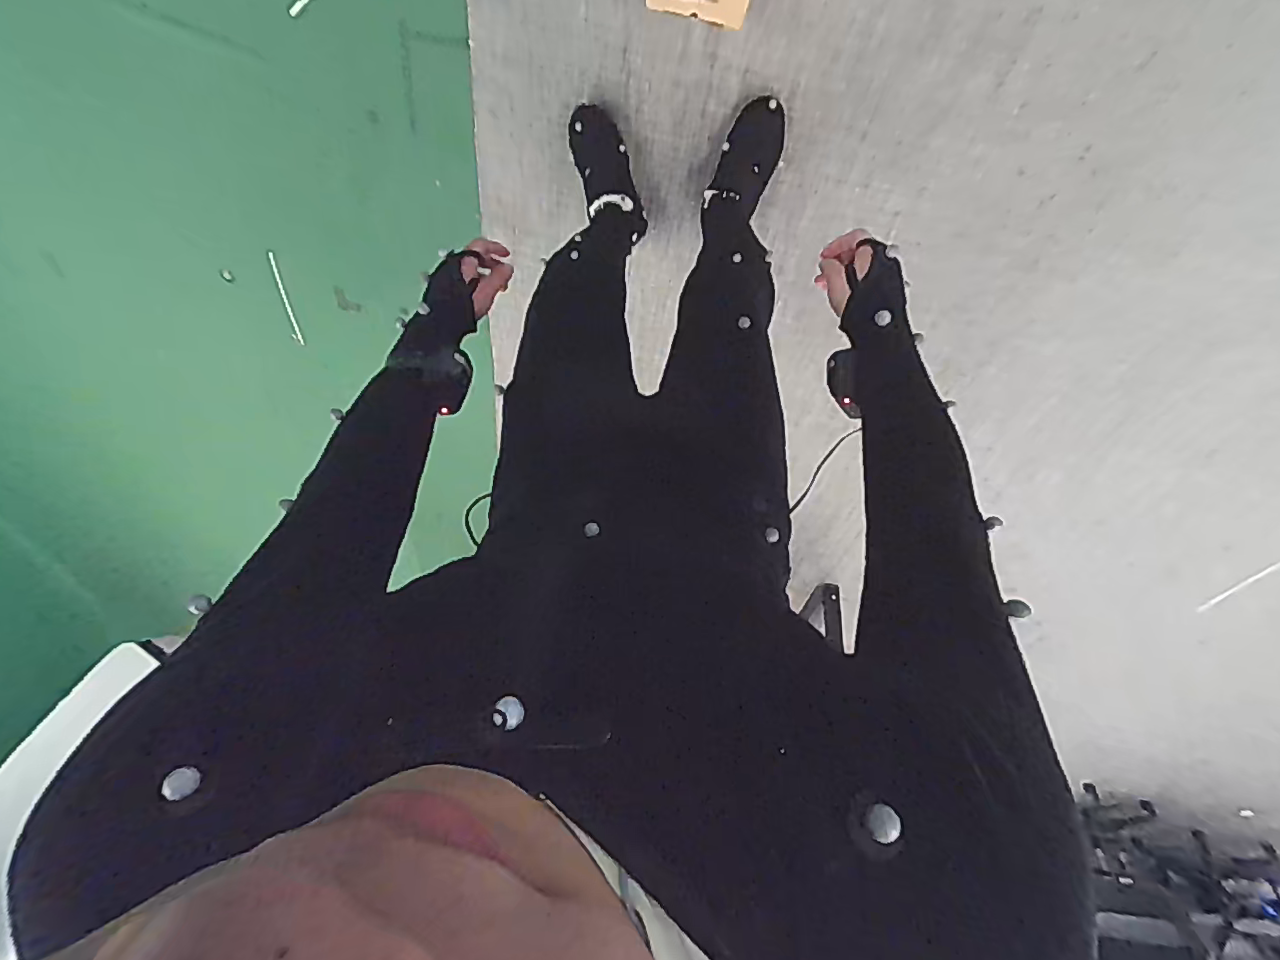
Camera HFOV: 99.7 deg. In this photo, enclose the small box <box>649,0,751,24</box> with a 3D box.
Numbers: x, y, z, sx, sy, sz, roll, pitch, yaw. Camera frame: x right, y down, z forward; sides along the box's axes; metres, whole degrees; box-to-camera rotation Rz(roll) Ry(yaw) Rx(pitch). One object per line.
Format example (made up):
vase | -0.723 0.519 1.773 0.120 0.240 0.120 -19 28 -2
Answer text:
small box | 0.116 -0.867 0.860 0.168 0.176 0.179 14 137 0
